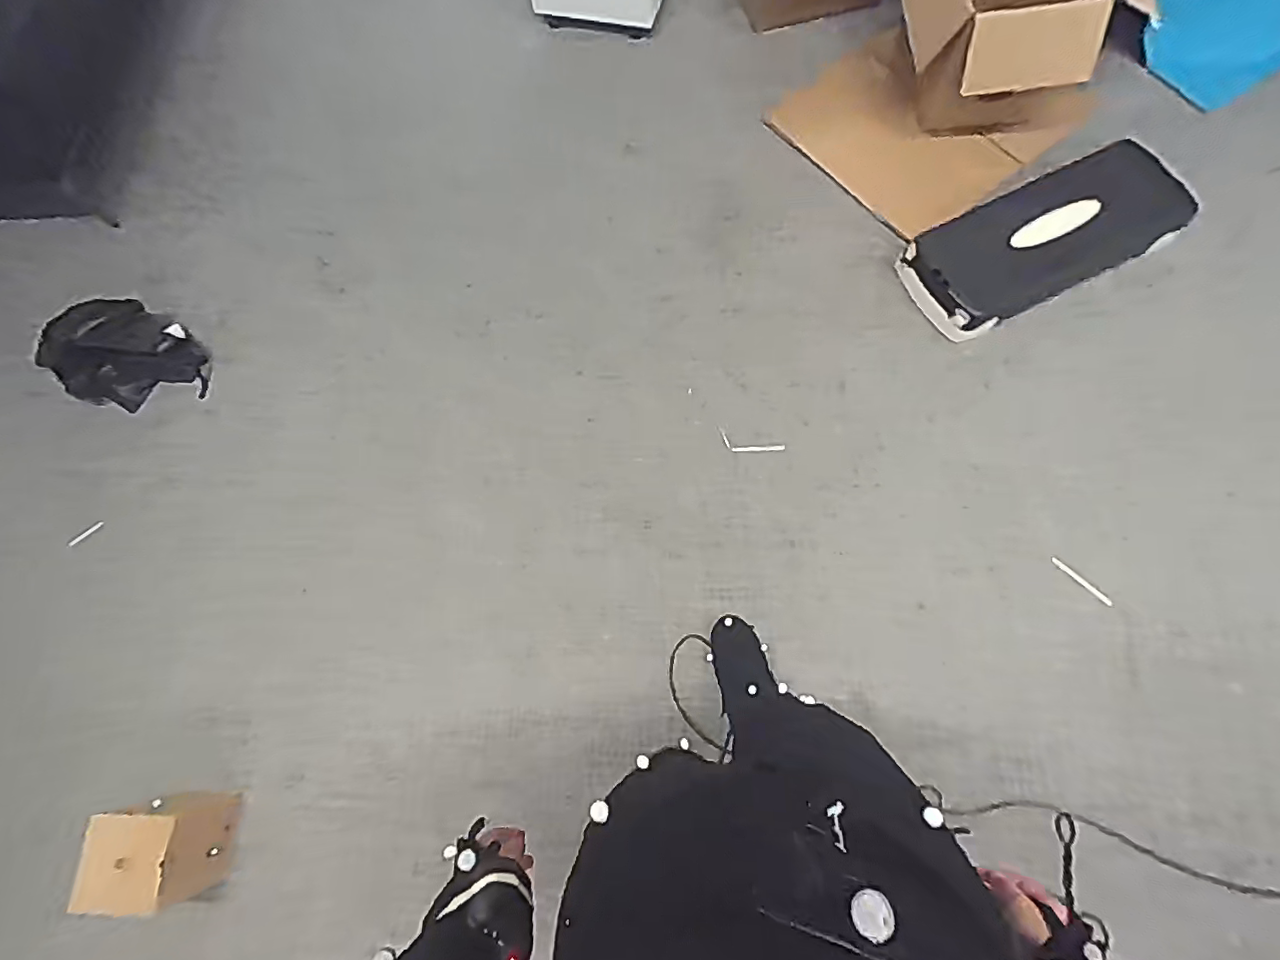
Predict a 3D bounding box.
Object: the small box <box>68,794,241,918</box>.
[{"bbox_3d":[-0.971,0.751,1.098,0.179,0.176,0.168,-1,73,4],"label":"small box"}]
